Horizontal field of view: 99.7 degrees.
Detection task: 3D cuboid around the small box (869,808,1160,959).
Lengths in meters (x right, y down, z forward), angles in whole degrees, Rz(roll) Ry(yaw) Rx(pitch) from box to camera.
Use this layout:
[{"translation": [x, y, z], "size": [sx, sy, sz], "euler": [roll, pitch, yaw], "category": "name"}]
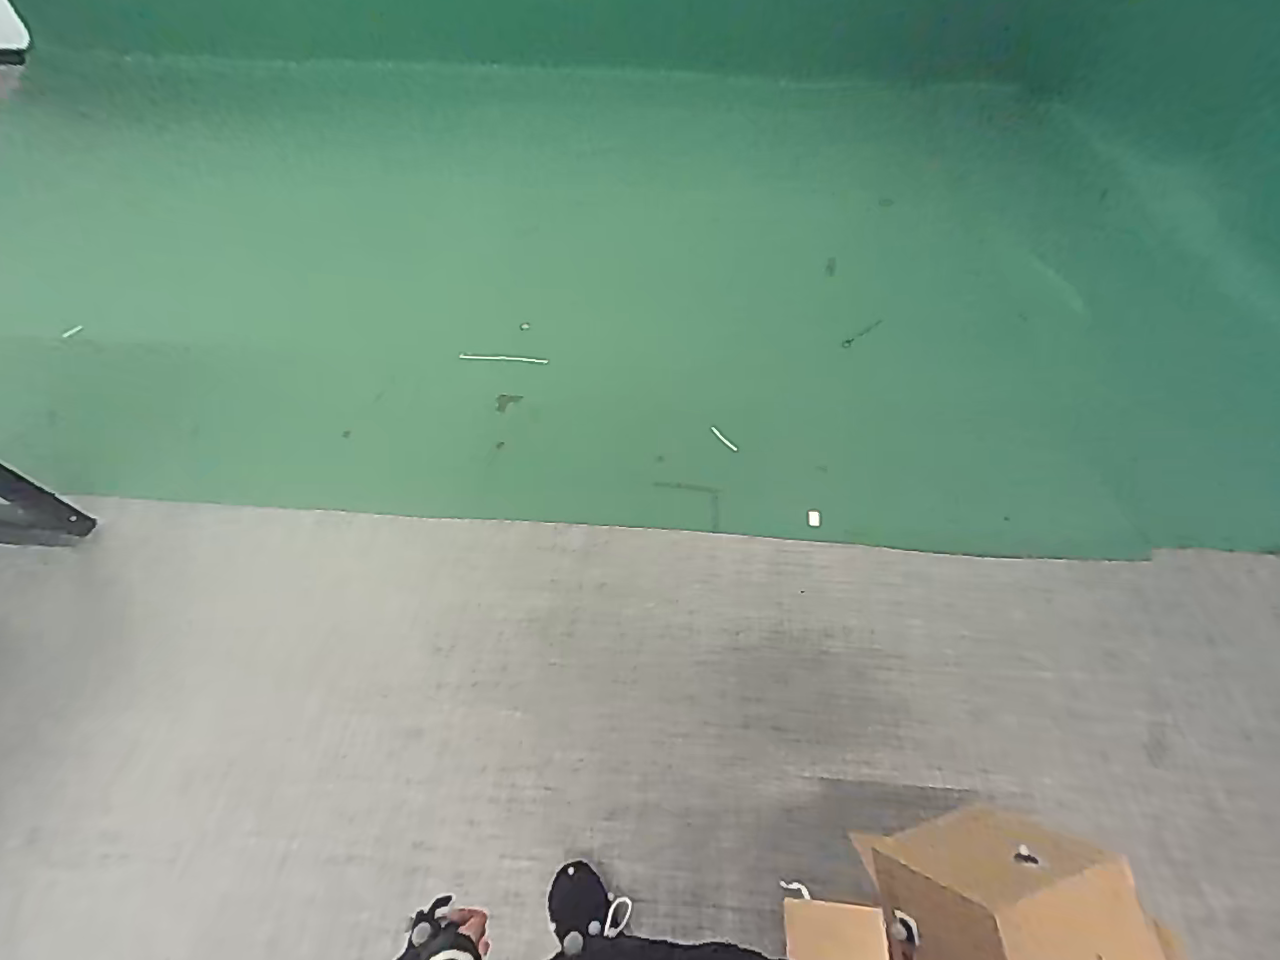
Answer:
[{"translation": [0.369, 0.457, 0.540], "size": [0.179, 0.176, 0.168], "euler": [-6, 76, -18], "category": "small box"}]
